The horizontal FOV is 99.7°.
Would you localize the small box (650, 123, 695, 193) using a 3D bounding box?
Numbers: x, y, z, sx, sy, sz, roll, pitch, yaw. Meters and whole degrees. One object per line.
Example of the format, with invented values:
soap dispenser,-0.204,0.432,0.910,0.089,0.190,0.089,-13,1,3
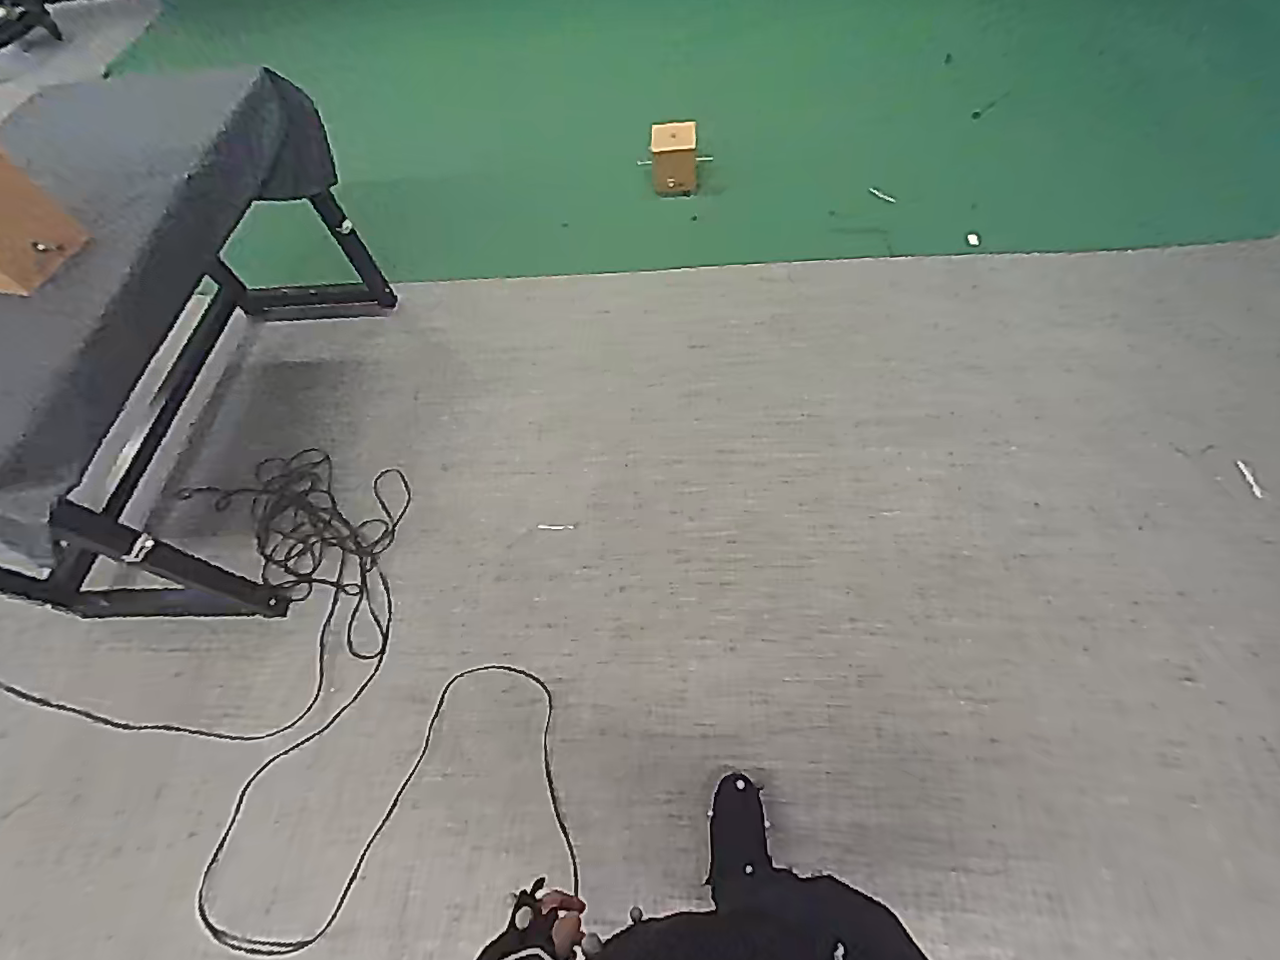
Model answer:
small box,0.128,-1.249,2.103,0.168,0.176,0.179,-2,61,6
